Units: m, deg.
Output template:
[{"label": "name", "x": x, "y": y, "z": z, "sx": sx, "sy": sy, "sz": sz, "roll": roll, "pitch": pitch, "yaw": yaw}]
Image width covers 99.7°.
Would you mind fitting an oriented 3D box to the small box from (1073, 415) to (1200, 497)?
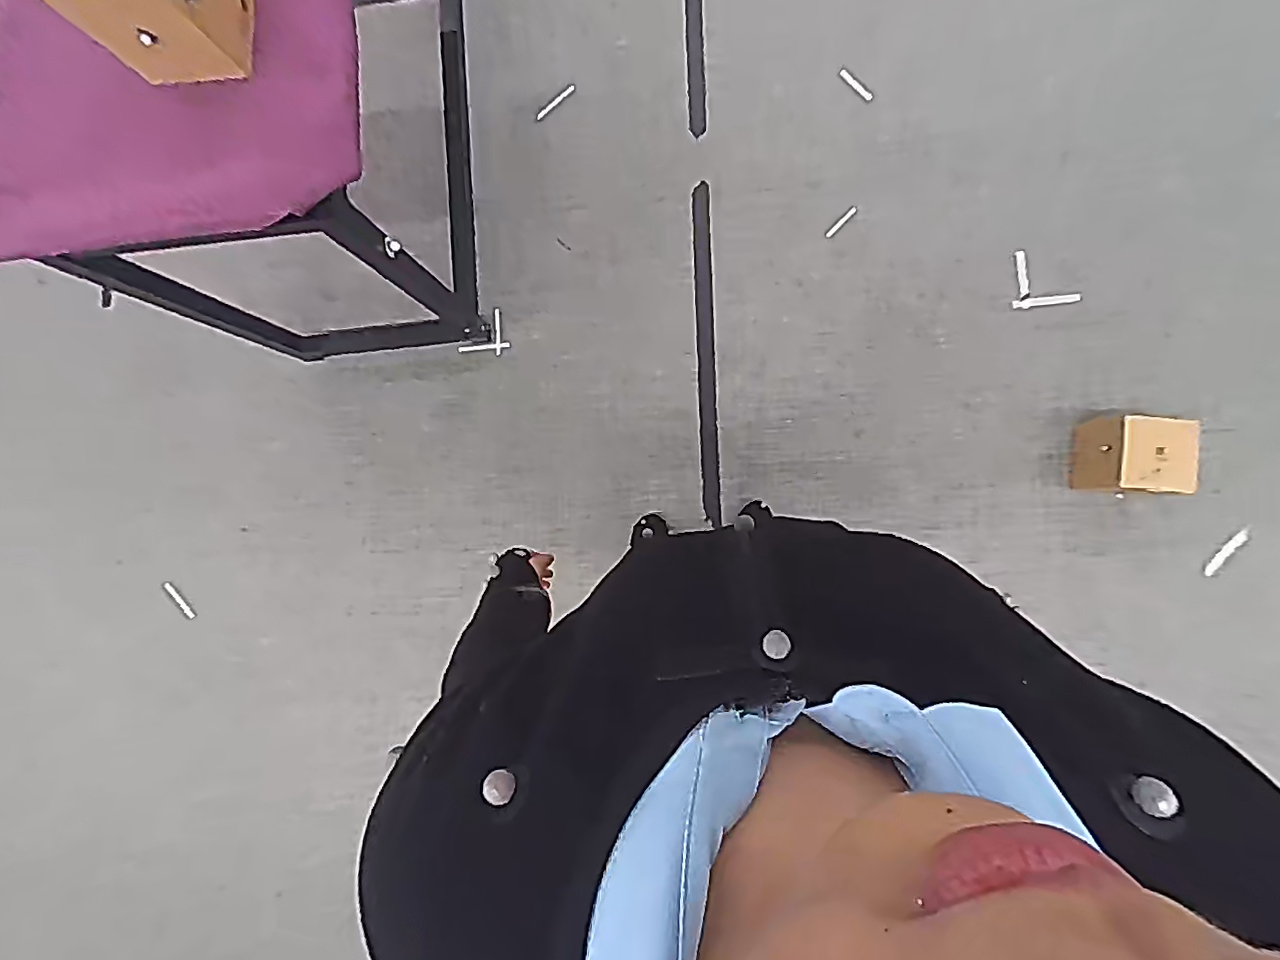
[{"label": "small box", "x": 1.224, "y": -0.054, "z": 1.344, "sx": 0.168, "sy": 0.176, "sz": 0.179, "roll": 6, "pitch": 88, "yaw": 6}]
